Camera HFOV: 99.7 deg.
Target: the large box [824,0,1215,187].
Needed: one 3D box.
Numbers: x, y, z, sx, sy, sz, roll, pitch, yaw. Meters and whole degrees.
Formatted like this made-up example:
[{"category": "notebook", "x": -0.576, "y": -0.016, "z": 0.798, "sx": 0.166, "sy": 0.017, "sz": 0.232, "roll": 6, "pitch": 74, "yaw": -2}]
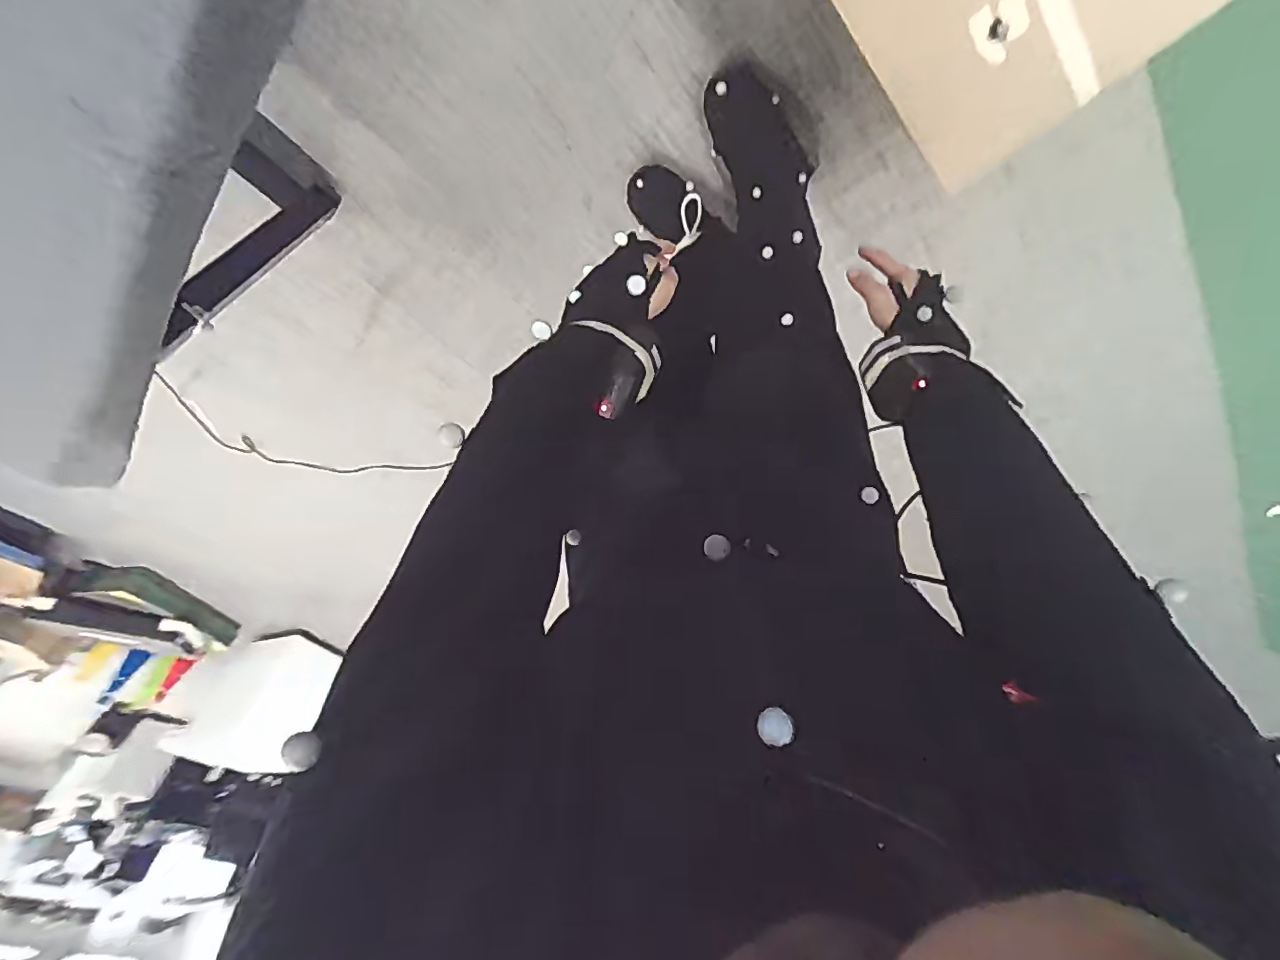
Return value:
[{"category": "large box", "x": 0.382, "y": -0.652, "z": 0.620, "sx": 0.408, "sy": 0.320, "sz": 0.320, "roll": 36, "pitch": 132, "yaw": -28}]
